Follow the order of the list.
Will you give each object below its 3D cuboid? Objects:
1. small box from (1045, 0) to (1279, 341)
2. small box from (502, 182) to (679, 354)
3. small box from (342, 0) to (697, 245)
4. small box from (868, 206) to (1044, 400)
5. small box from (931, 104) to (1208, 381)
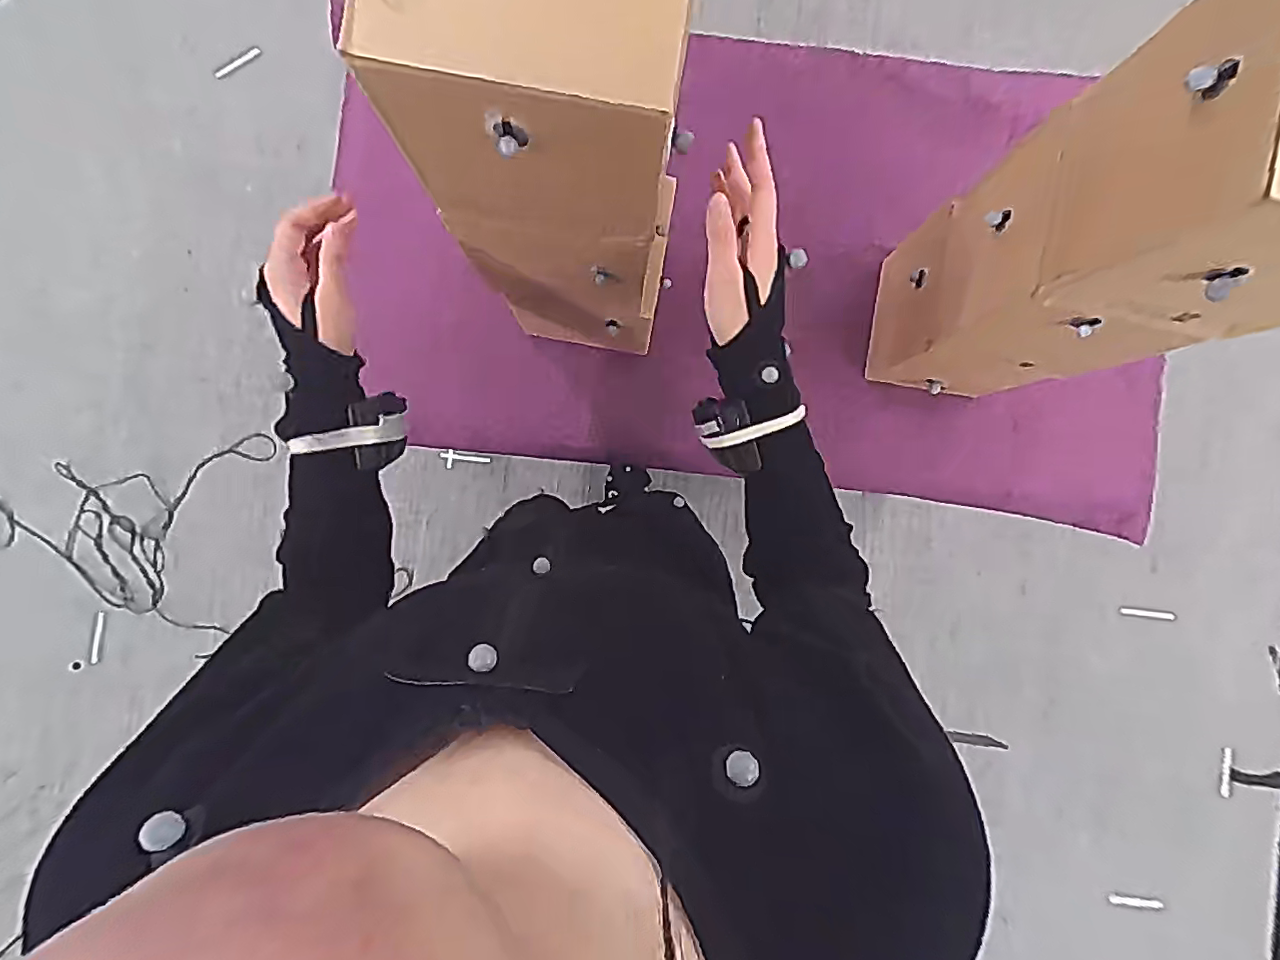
[{"bbox_3d":[0.424,-0.211,0.370,0.168,0.176,0.179,11,88,0],"label":"small box"},{"bbox_3d":[-0.057,-0.269,0.687,0.179,0.176,0.168,10,88,-1],"label":"small box"},{"bbox_3d":[-0.058,-0.280,0.361,0.179,0.176,0.168,9,89,-2],"label":"small box"},{"bbox_3d":[0.417,-0.214,0.698,0.168,0.176,0.179,10,89,-1],"label":"small box"},{"bbox_3d":[0.420,-0.214,0.534,0.168,0.176,0.179,12,87,-1],"label":"small box"}]
